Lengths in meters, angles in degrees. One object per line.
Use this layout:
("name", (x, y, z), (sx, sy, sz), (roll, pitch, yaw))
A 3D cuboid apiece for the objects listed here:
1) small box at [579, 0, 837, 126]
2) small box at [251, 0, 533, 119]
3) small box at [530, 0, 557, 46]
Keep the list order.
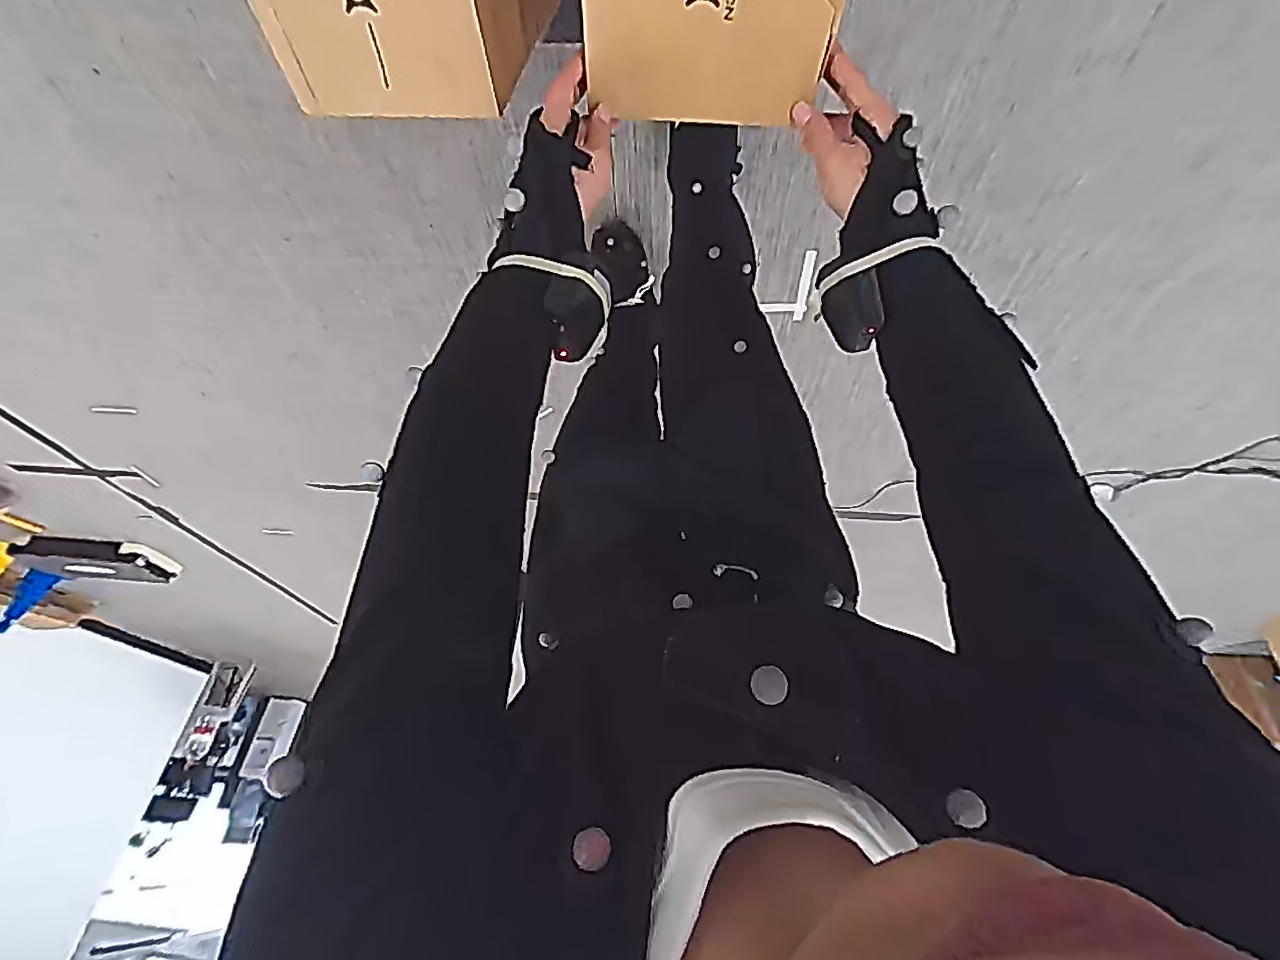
("small box", (0.051, -0.395, 0.401), (0.179, 0.176, 0.168), (3, 147, 1))
("small box", (-0.187, -0.408, 0.409), (0.168, 0.176, 0.179), (3, 146, 3))
("small box", (-0.173, -0.542, 0.503), (0.168, 0.176, 0.179), (4, 146, 2))
